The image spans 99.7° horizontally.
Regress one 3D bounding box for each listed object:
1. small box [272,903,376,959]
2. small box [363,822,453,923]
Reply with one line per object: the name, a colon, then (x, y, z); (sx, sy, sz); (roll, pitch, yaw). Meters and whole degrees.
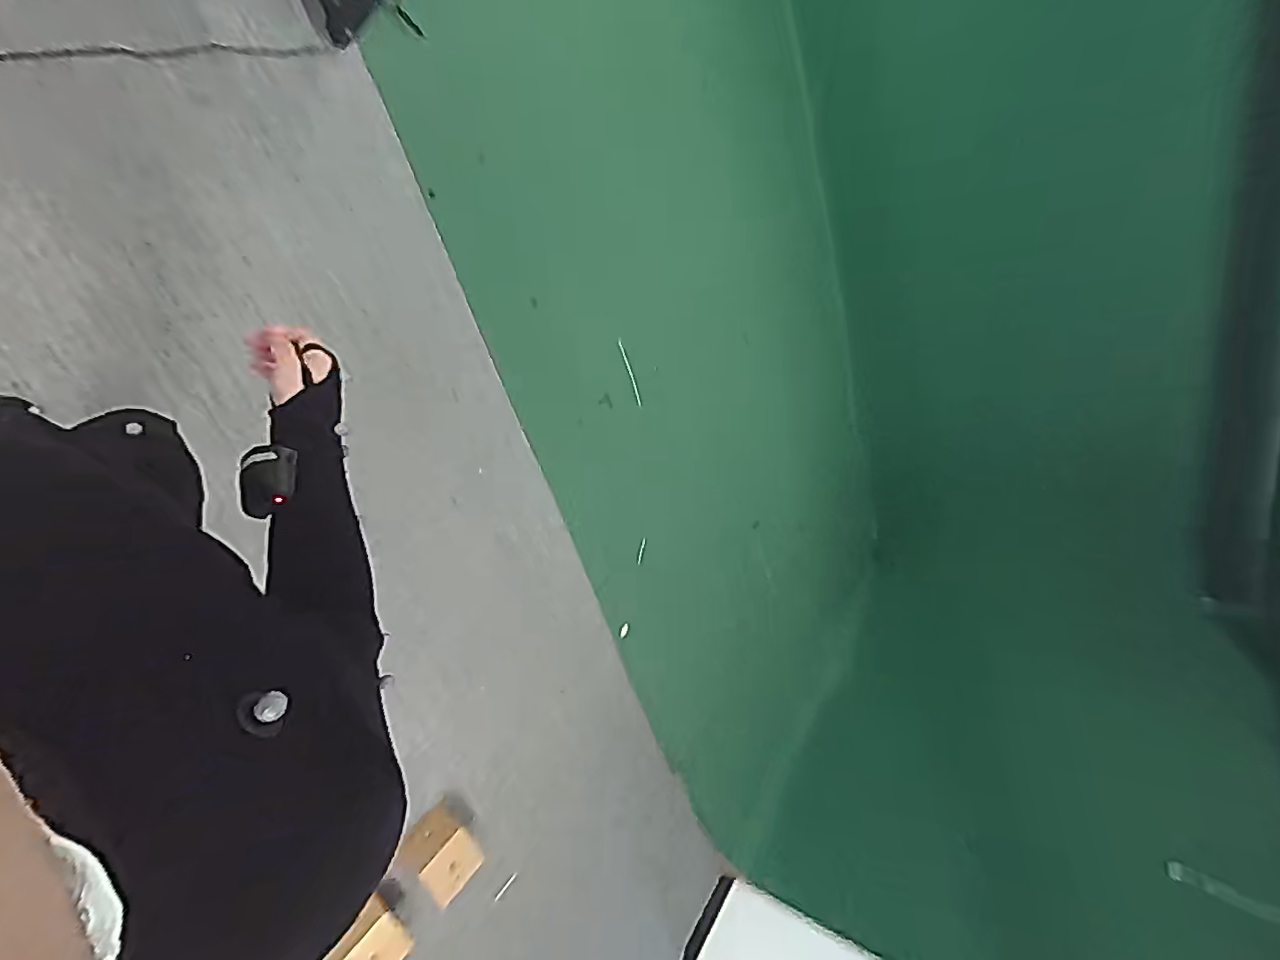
small box: (-0.883, 1.337, 1.510); (0.168, 0.176, 0.179); (-39, 121, -42)
small box: (-0.726, 1.209, 1.685); (0.168, 0.176, 0.179); (-38, 121, -41)
